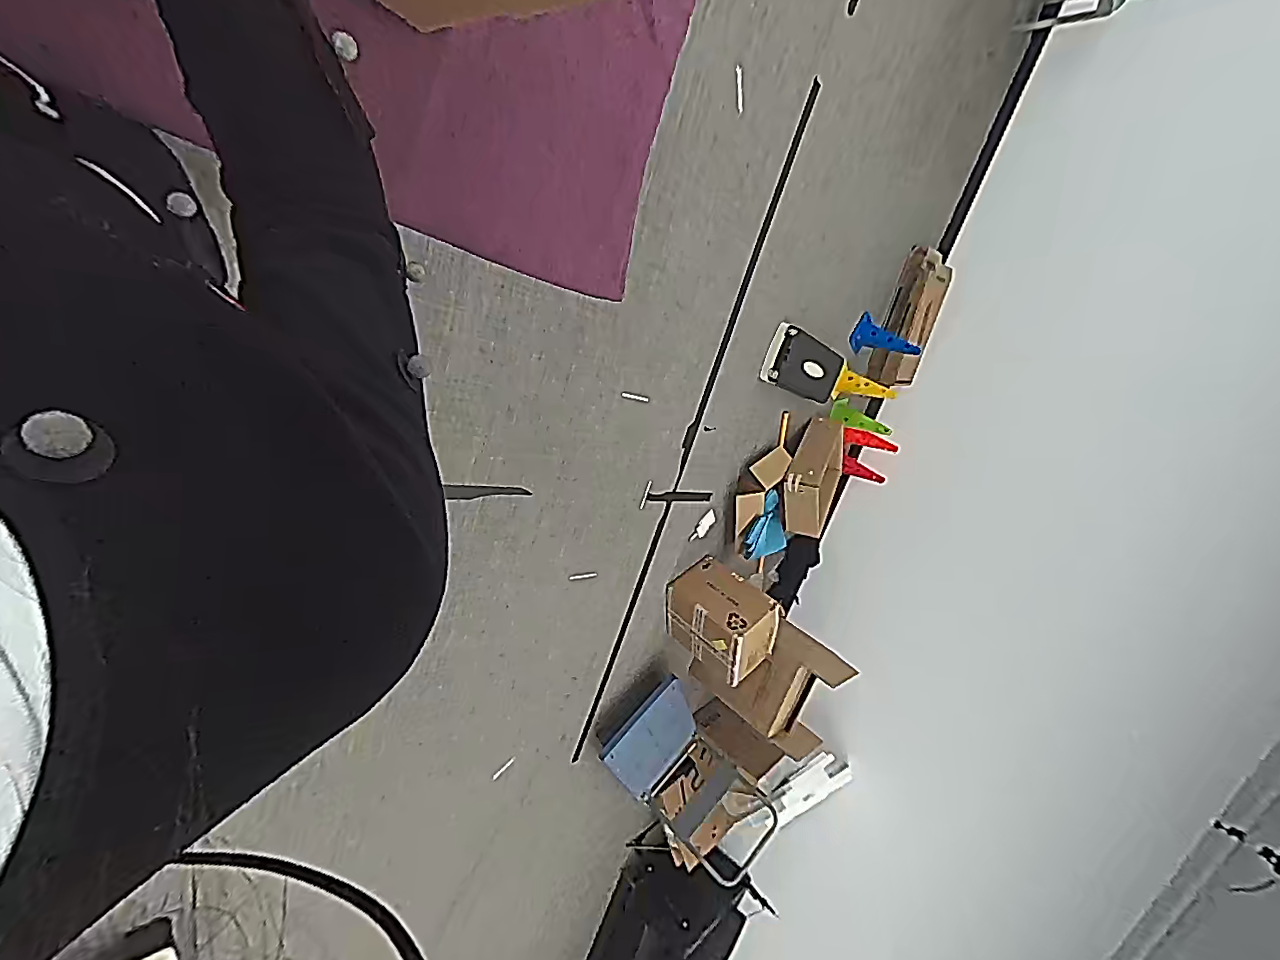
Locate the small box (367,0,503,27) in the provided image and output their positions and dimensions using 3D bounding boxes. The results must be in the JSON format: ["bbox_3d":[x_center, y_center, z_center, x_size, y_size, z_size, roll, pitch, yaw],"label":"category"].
[{"bbox_3d":[-0.192,-0.504,0.419,0.168,0.176,0.179,5,109,-51],"label":"small box"}]

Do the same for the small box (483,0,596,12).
[{"bbox_3d":[-0.074,-0.438,0.325,0.168,0.176,0.179,5,110,-50],"label":"small box"}]
